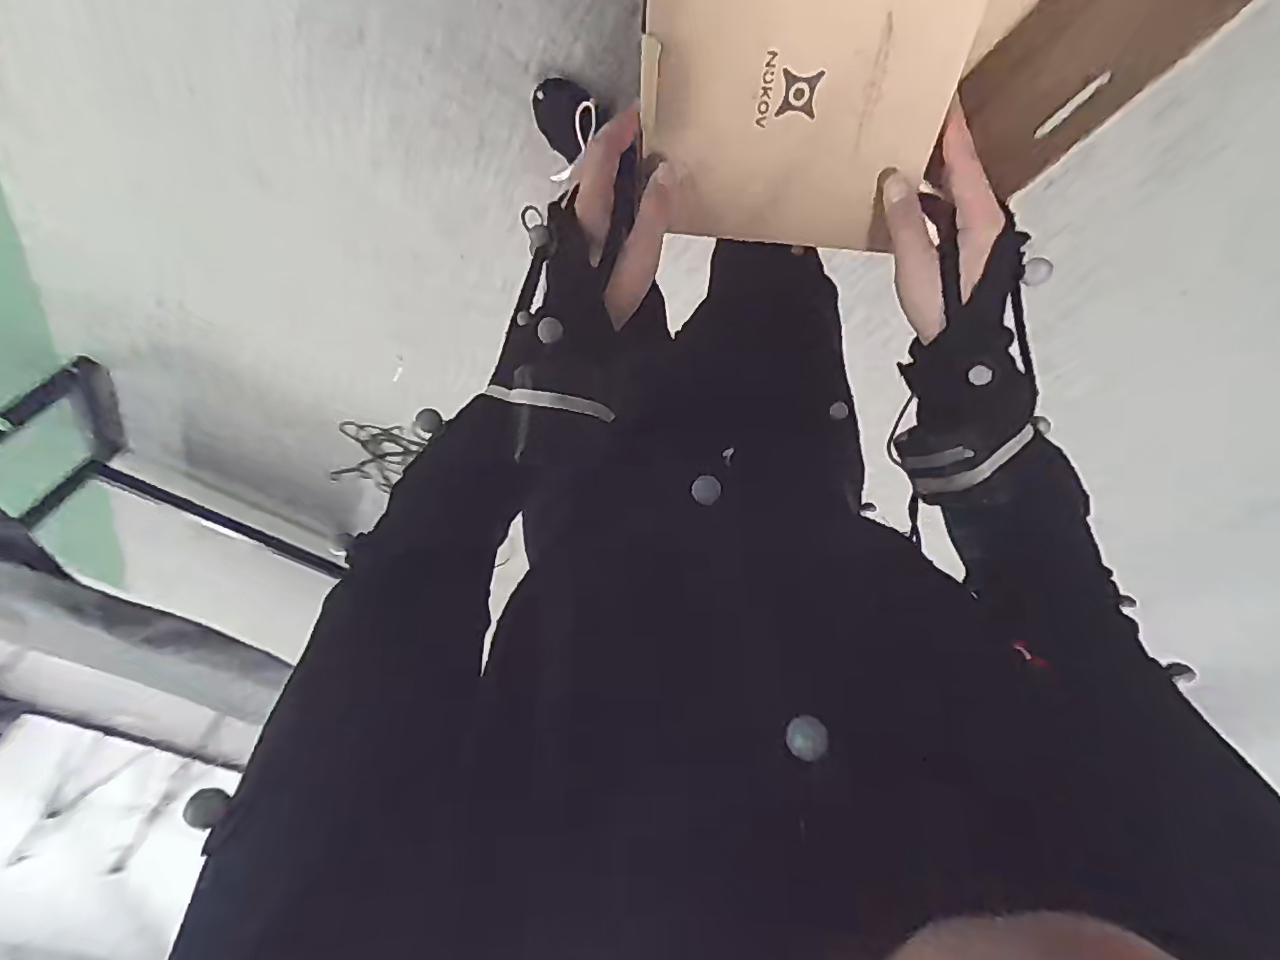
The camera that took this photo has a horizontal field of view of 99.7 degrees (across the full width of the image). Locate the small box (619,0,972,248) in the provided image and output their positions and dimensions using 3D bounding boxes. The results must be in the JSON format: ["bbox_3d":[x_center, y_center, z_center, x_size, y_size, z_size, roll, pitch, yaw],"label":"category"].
[{"bbox_3d":[0.086,-0.272,0.353,0.179,0.176,0.168,6,135,4],"label":"small box"}]
